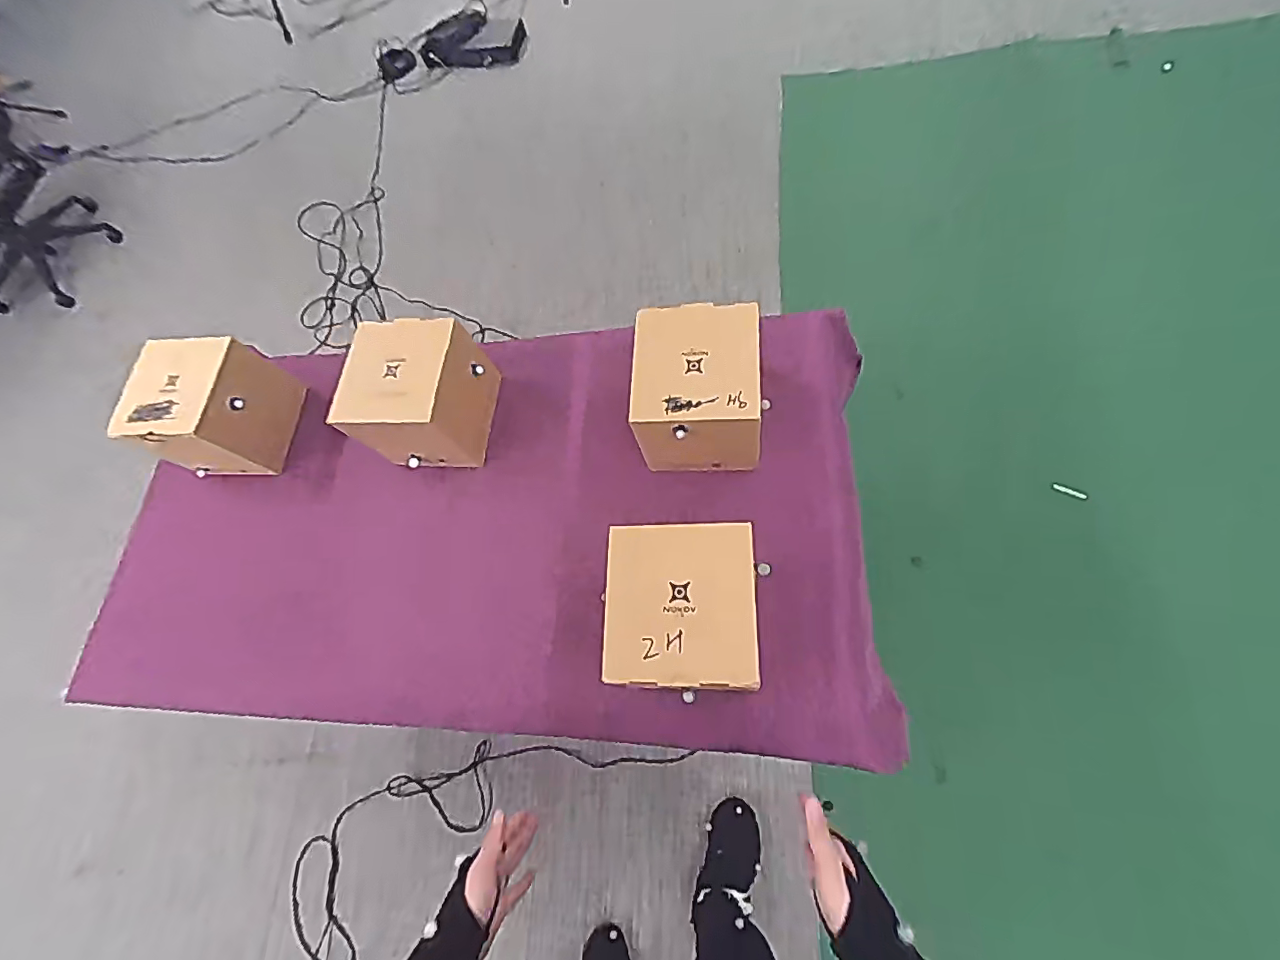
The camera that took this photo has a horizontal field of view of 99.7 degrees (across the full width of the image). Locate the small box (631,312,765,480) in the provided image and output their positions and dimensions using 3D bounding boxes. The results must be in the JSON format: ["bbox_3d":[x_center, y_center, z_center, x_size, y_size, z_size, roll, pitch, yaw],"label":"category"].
[{"bbox_3d":[0.088,-0.113,0.764,0.168,0.176,0.179,1,69,11],"label":"small box"}]

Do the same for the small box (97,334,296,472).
[{"bbox_3d":[-0.715,-0.119,0.896,0.168,0.176,0.179,1,70,9],"label":"small box"}]

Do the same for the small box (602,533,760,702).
[{"bbox_3d":[0.057,0.171,0.657,0.168,0.176,0.179,-1,69,10],"label":"small box"}]

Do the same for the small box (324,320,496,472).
[{"bbox_3d":[-0.342,-0.127,0.842,0.168,0.176,0.179,2,71,11],"label":"small box"}]
